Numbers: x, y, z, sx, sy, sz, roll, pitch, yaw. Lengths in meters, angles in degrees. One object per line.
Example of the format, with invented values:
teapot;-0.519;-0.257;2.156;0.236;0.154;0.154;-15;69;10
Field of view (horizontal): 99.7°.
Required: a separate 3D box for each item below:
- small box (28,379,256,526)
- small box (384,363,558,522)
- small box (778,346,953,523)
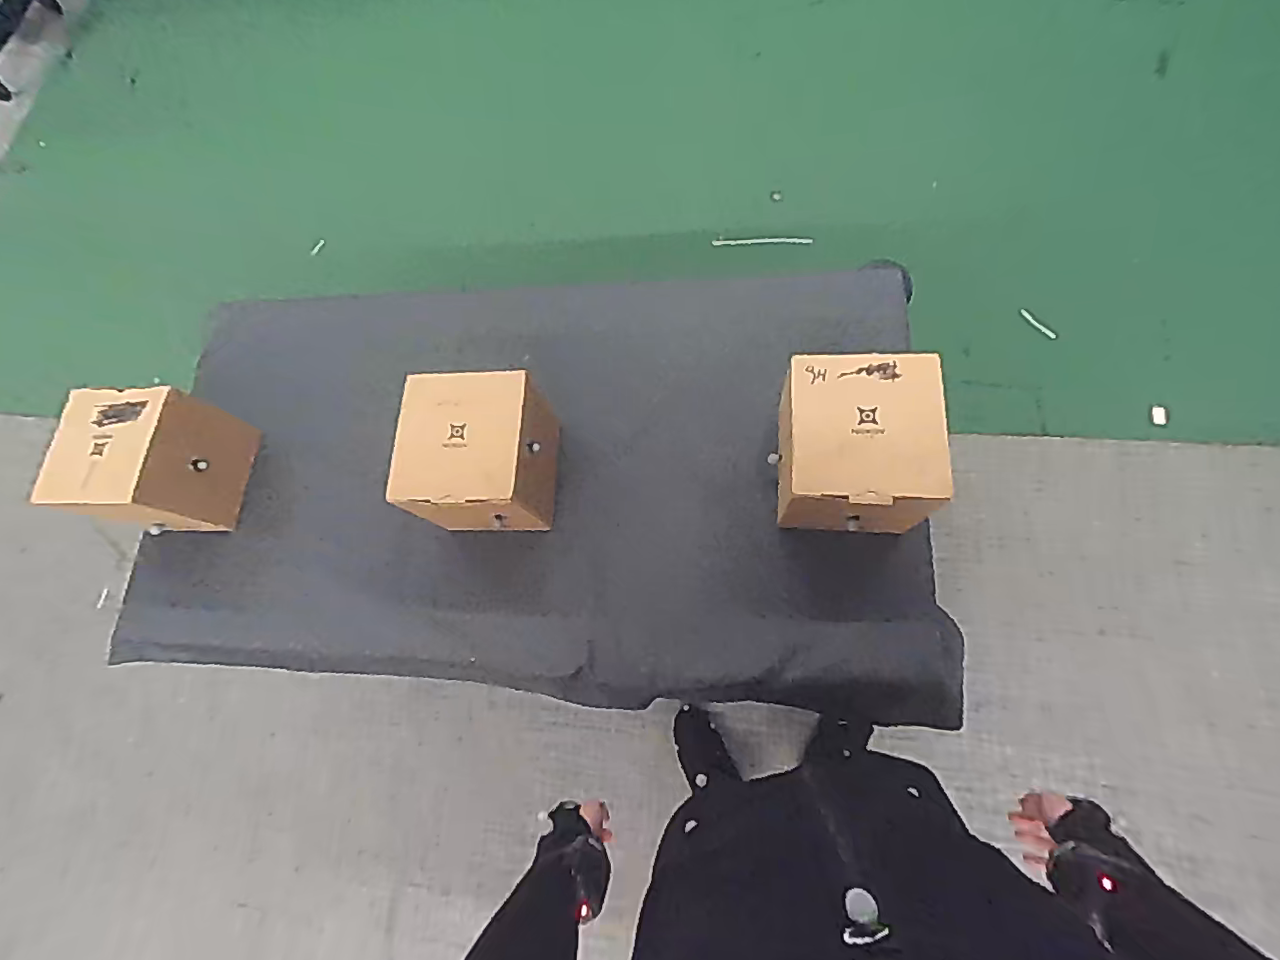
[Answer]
small box;-0.730;-0.036;0.817;0.168;0.176;0.179;0;73;9
small box;-0.217;-0.041;0.745;0.168;0.176;0.179;-1;72;7
small box;0.264;-0.047;0.669;0.168;0.176;0.179;2;74;10
